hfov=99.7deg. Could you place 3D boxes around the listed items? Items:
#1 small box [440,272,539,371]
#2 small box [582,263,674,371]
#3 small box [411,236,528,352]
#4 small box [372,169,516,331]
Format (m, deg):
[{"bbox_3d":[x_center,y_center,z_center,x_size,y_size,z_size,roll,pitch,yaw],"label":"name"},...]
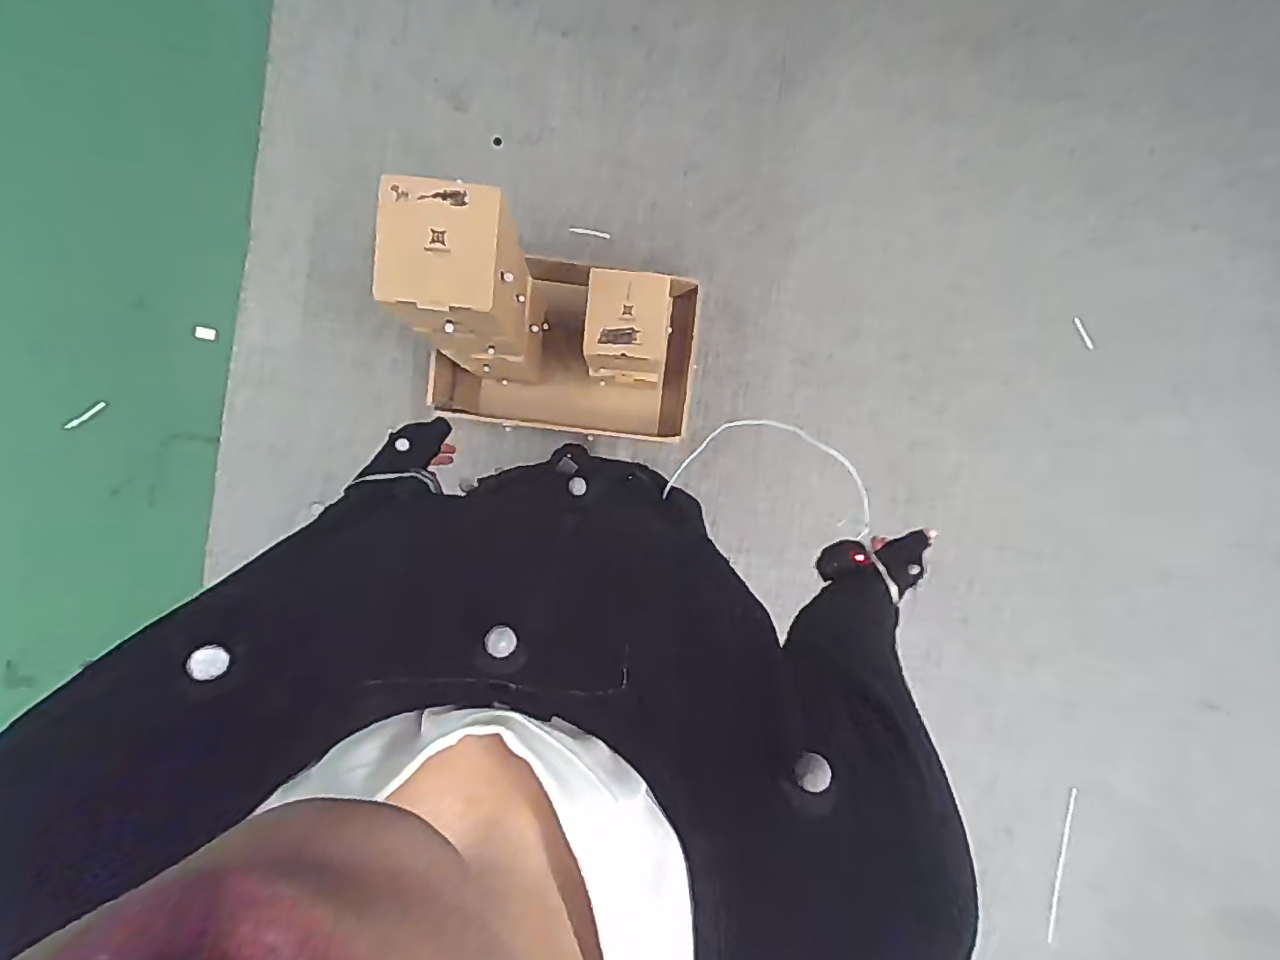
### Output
[{"bbox_3d":[-0.312,-0.341,1.151,0.168,0.176,0.179,7,93,-5],"label":"small box"},{"bbox_3d":[-0.028,-0.339,1.161,0.168,0.176,0.179,8,93,-4],"label":"small box"},{"bbox_3d":[-0.301,-0.339,0.988,0.168,0.176,0.179,5,92,-5],"label":"small box"},{"bbox_3d":[-0.287,-0.335,0.825,0.168,0.176,0.179,5,93,-6],"label":"small box"}]
